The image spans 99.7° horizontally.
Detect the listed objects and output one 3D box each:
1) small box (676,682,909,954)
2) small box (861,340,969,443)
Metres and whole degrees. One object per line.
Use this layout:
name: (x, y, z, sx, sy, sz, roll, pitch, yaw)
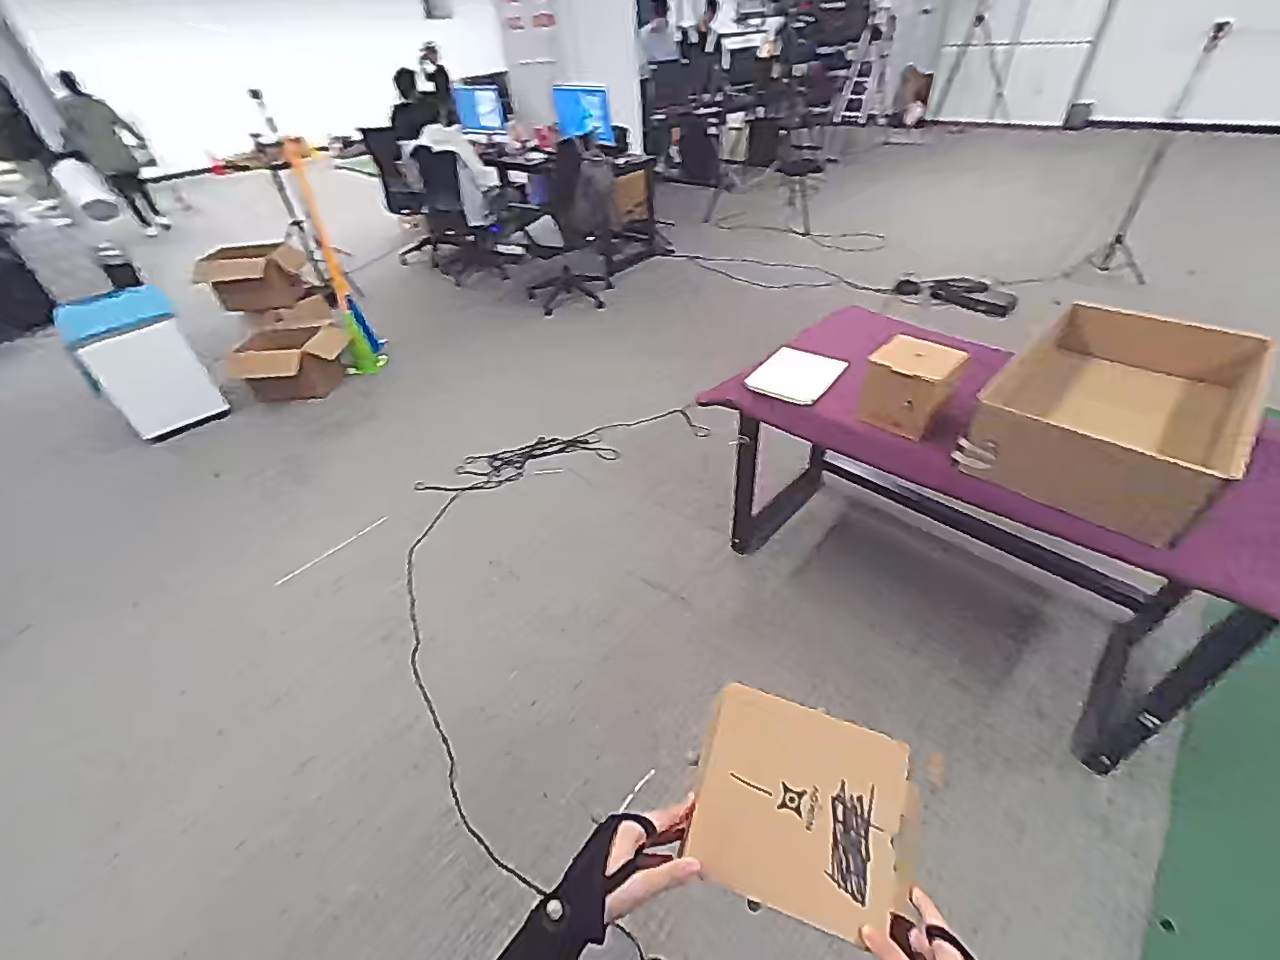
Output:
small box: (0.144, 0.326, 0.553, 0.179, 0.176, 0.168, 16, 63, 11)
small box: (0.660, -0.216, 1.318, 0.179, 0.176, 0.168, -33, 48, -32)
